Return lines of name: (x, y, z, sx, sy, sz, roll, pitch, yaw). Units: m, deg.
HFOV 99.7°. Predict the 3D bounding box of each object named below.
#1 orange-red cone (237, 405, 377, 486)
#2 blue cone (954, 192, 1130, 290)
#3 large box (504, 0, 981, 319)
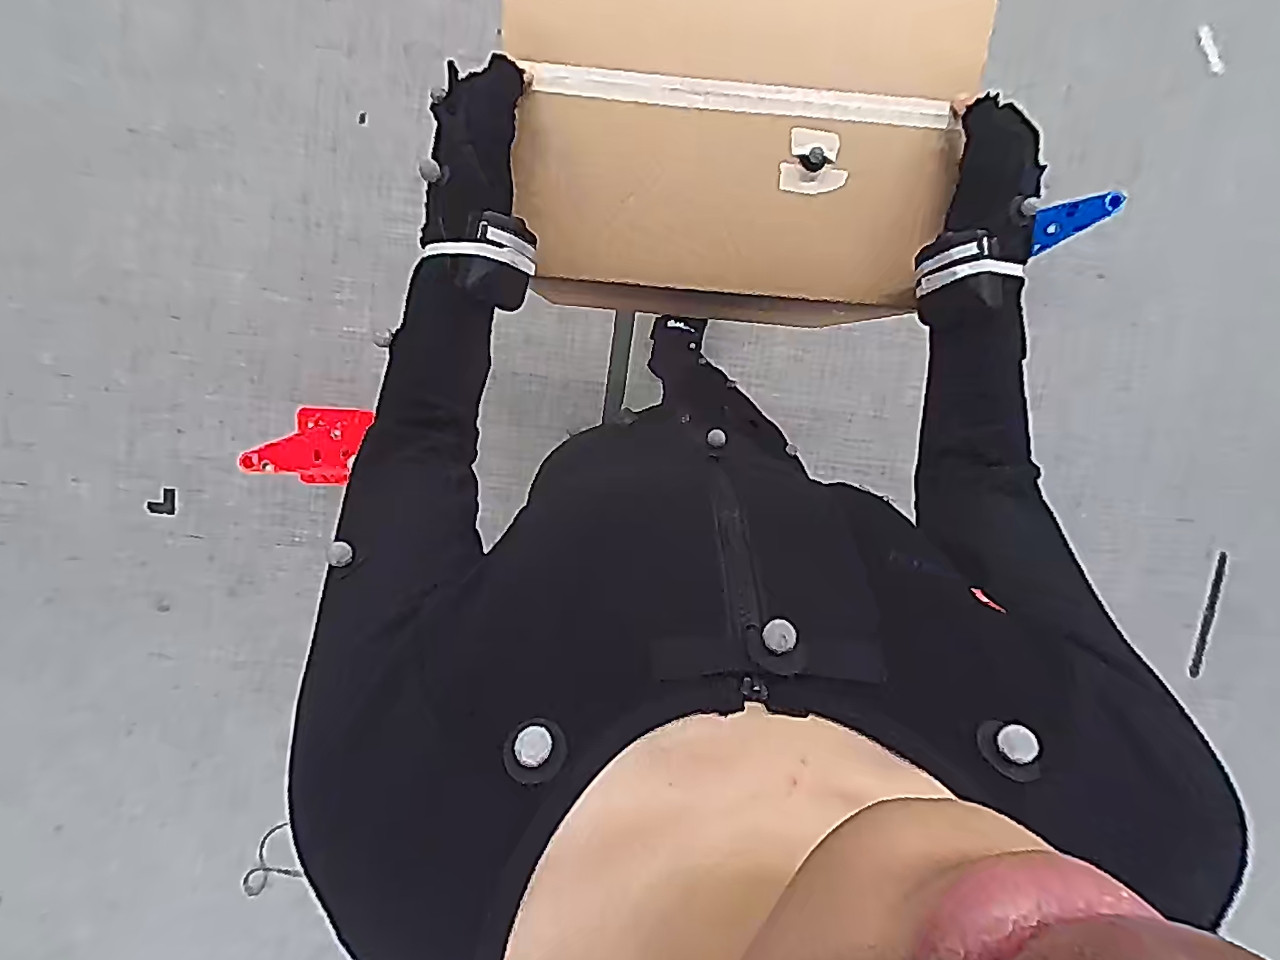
orange-red cone: (-0.773, -0.060, 1.228, 0.198, 0.360, 0.199, 4, 99, -3)
blue cone: (0.938, -0.584, 1.259, 0.192, 0.380, 0.193, 10, 98, -6)
large box: (0.077, -0.365, 0.609, 0.408, 0.320, 0.320, 4, 103, -3)
